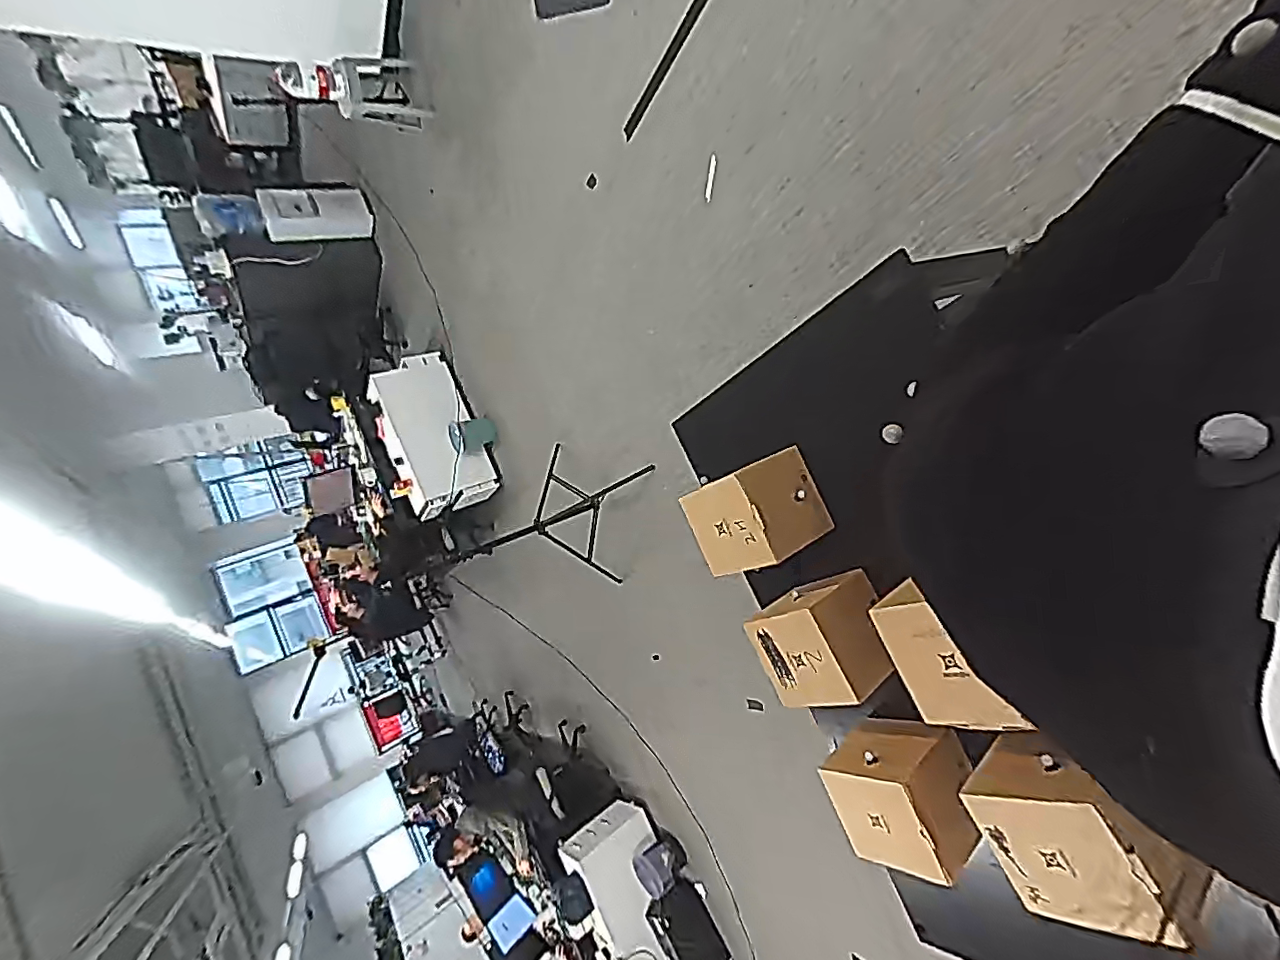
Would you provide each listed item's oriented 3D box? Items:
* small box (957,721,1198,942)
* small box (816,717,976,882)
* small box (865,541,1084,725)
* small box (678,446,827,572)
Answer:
[{"bbox_3d":[0.570,0.436,0.705,0.168,0.176,0.179,61,145,11],"label":"small box"},{"bbox_3d":[0.447,0.529,0.928,0.179,0.176,0.168,-32,81,55],"label":"small box"},{"bbox_3d":[0.457,0.207,0.741,0.168,0.176,0.179,-36,77,55],"label":"small box"},{"bbox_3d":[0.207,0.055,1.001,0.179,0.176,0.168,-30,84,56],"label":"small box"}]
